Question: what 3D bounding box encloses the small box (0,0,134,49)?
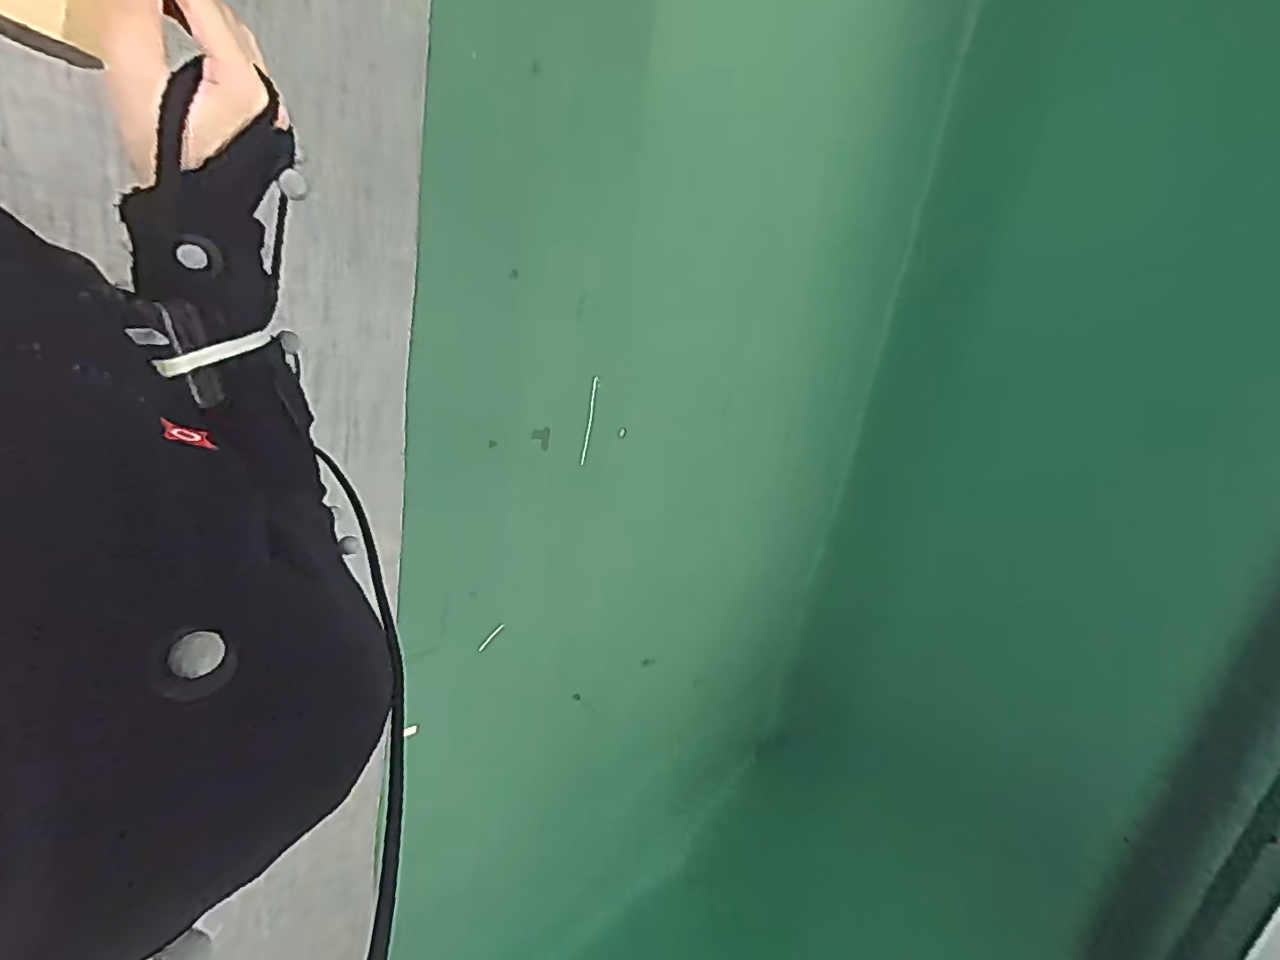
[{"bbox_3d":[-0.317,-0.309,0.206,0.179,0.176,0.168,1,116,-50],"label":"small box"}]
